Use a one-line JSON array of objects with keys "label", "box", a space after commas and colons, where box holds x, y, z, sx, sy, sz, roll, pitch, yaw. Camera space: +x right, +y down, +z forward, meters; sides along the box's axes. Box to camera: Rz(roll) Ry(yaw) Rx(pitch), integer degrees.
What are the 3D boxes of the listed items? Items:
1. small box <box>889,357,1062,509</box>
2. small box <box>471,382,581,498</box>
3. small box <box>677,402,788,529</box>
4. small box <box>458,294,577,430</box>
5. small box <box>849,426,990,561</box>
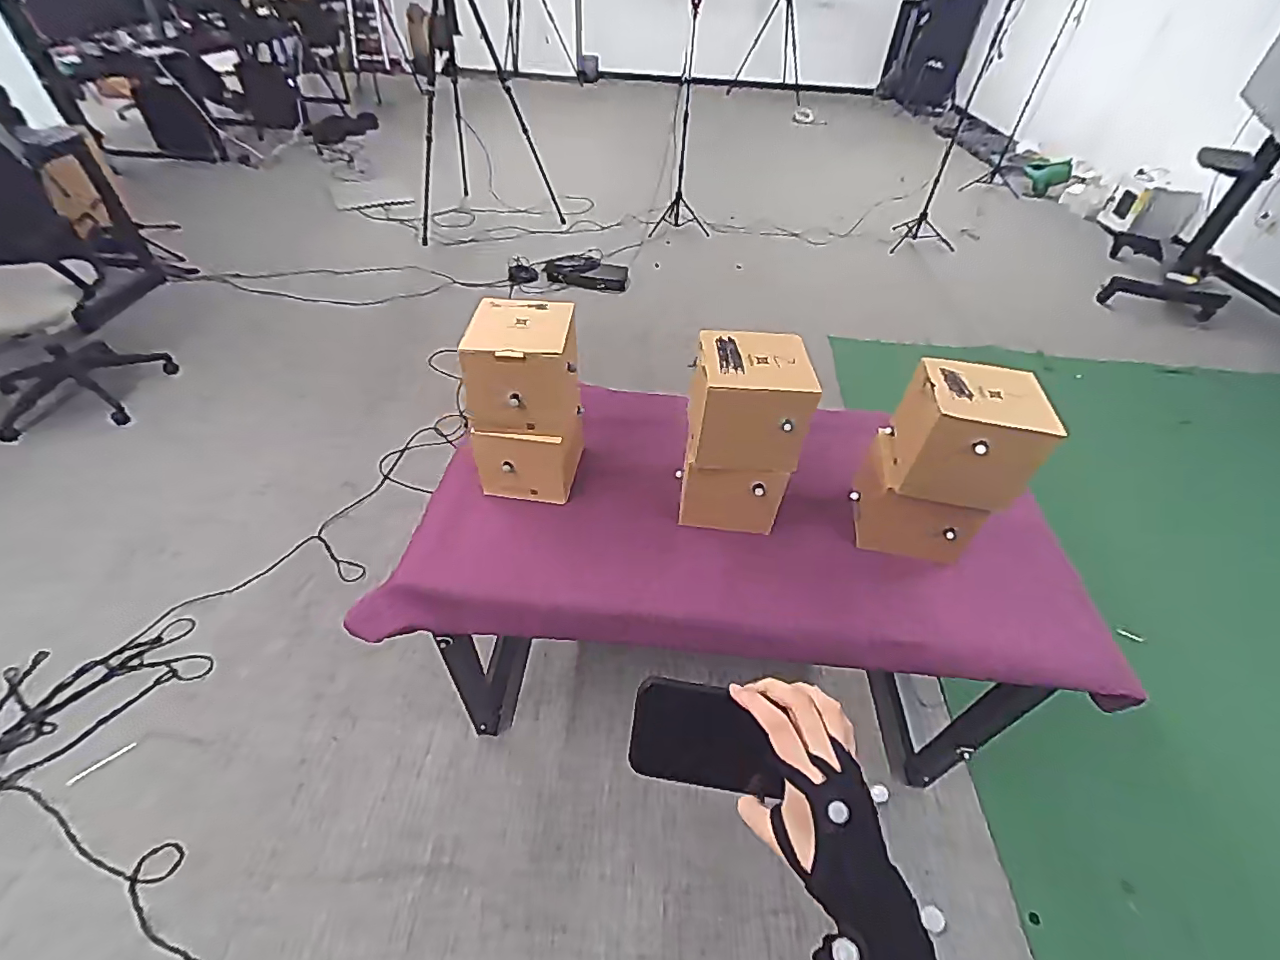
[{"label": "small box", "box": [0.522, -0.074, 0.878, 0.179, 0.176, 0.168, 12, 46, 7]}, {"label": "small box", "box": [-0.213, -0.086, 1.068, 0.168, 0.176, 0.179, 7, 45, 3]}, {"label": "small box", "box": [0.172, -0.024, 1.032, 0.179, 0.176, 0.168, 7, 45, 3]}, {"label": "small box", "box": [-0.204, -0.207, 0.957, 0.168, 0.176, 0.179, 4, 46, -1]}, {"label": "small box", "box": [0.507, 0.029, 1.005, 0.179, 0.176, 0.168, 11, 45, 8]}]
